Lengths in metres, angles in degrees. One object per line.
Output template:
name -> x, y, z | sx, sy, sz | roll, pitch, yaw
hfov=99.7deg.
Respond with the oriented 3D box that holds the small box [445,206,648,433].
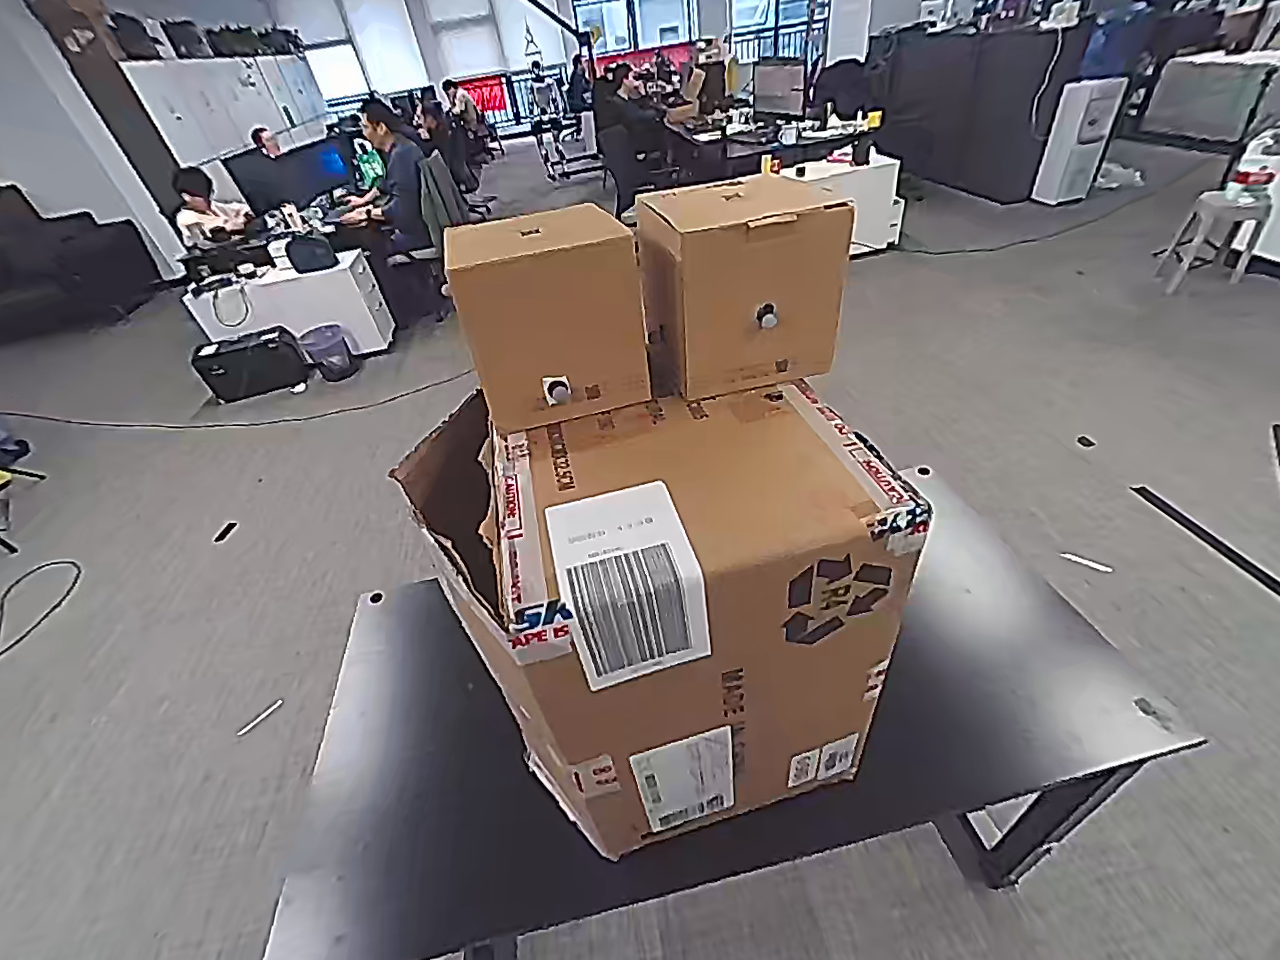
small box -> -0.099, -0.175, 0.577 | 0.168, 0.176, 0.179 | -17, 39, -9
